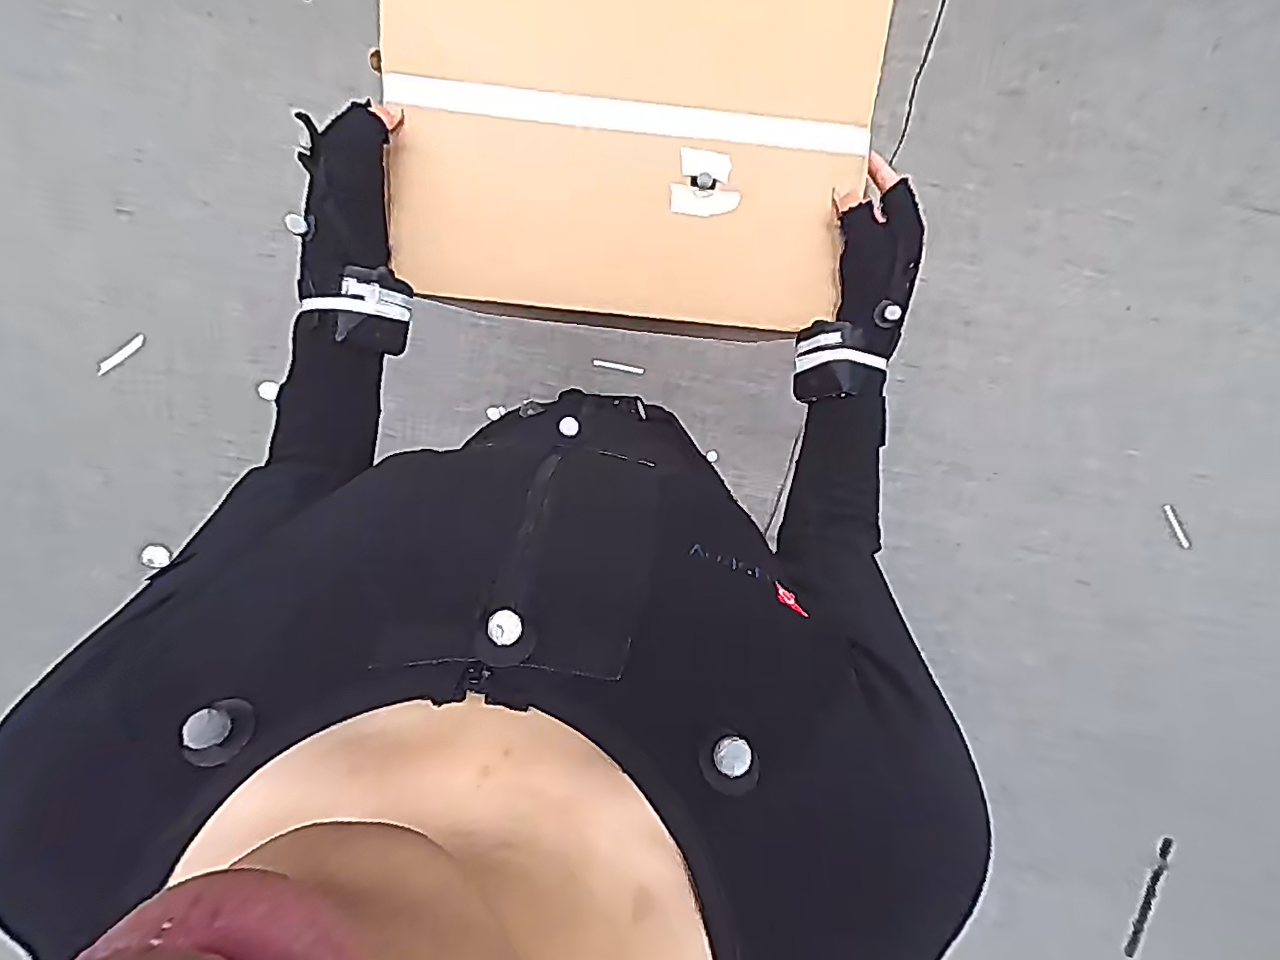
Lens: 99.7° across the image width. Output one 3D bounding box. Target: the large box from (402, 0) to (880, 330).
[{"bbox_3d":[-0.011,-0.348,0.614,0.408,0.320,0.320,5,104,-3],"label":"large box"}]
